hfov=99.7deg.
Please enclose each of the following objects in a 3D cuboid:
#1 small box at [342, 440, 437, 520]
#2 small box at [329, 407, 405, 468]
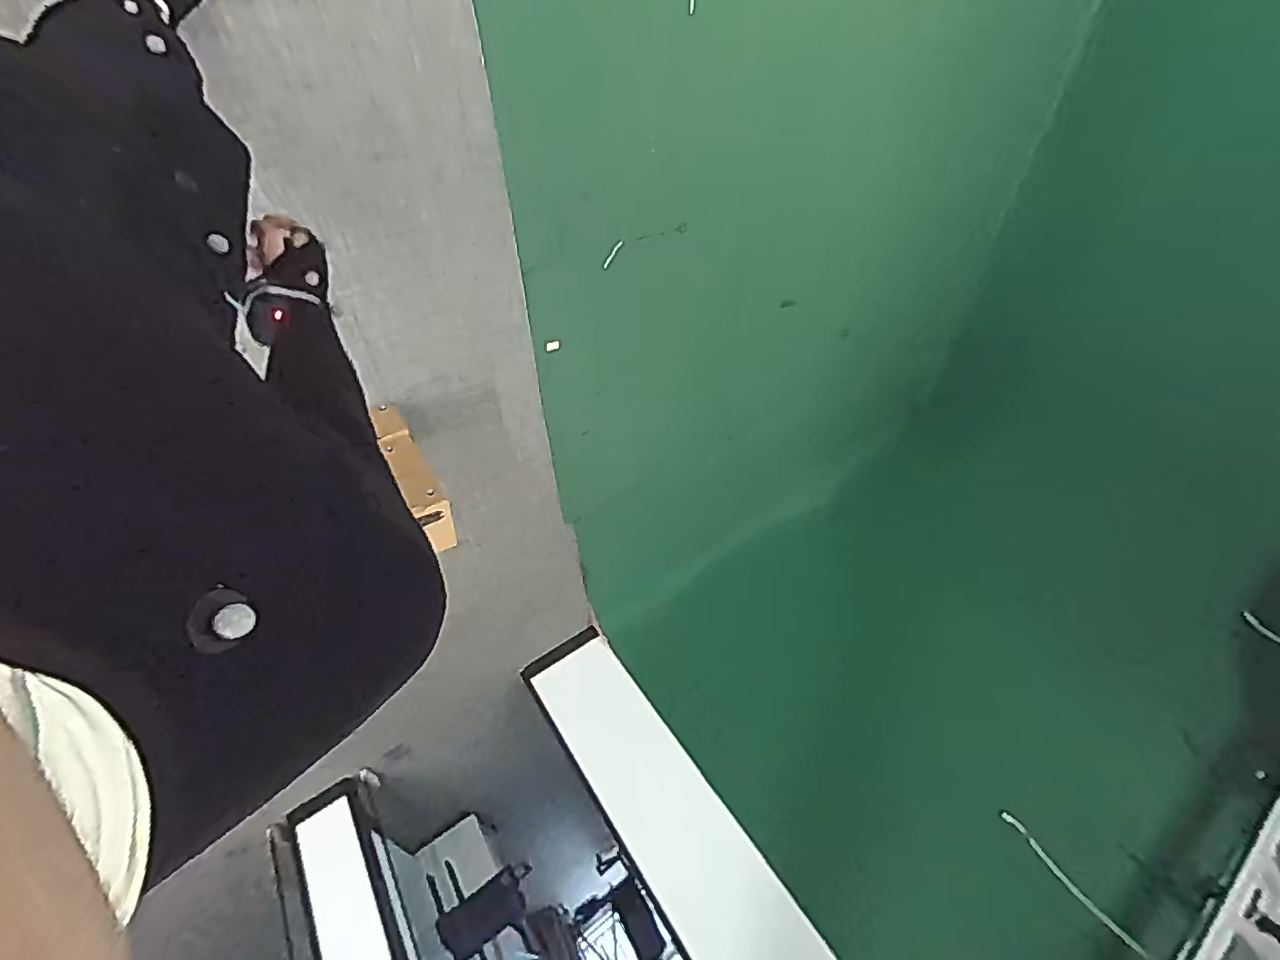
[{"bbox_3d":[-0.721,-0.001,1.552,0.179,0.176,0.168,9,116,-48],"label":"small box"},{"bbox_3d":[-0.812,-0.101,1.629,0.168,0.176,0.179,-22,139,-28],"label":"small box"}]
